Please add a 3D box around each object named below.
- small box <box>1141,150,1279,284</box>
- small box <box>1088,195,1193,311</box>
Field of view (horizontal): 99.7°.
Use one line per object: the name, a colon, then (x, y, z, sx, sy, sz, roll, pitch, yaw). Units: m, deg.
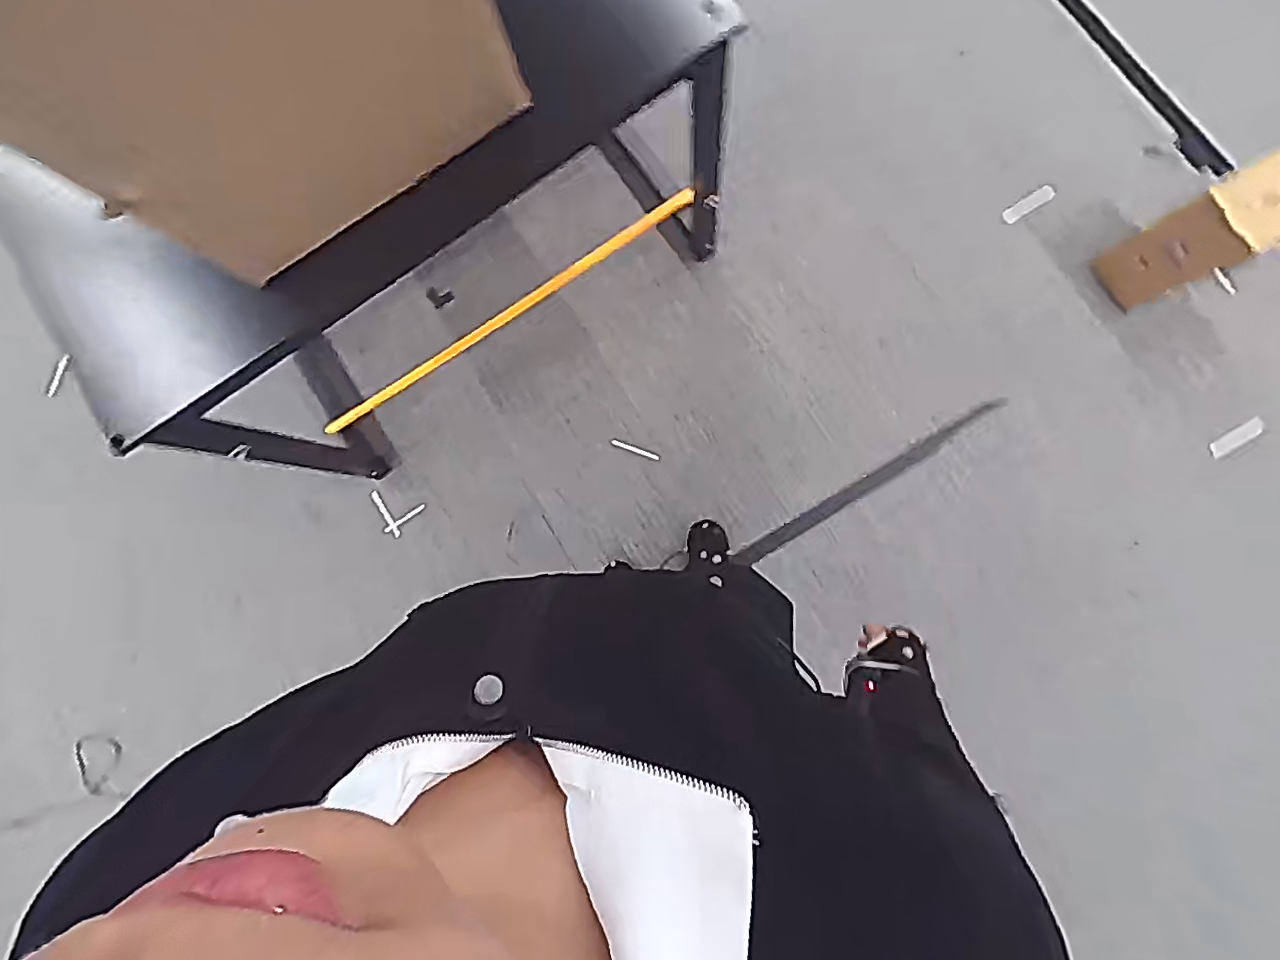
small box: (1.292, -0.572, 1.198, 0.179, 0.176, 0.168, -30, 83, 3)
small box: (1.299, -0.563, 1.363, 0.168, 0.176, 0.179, -29, 84, 3)
